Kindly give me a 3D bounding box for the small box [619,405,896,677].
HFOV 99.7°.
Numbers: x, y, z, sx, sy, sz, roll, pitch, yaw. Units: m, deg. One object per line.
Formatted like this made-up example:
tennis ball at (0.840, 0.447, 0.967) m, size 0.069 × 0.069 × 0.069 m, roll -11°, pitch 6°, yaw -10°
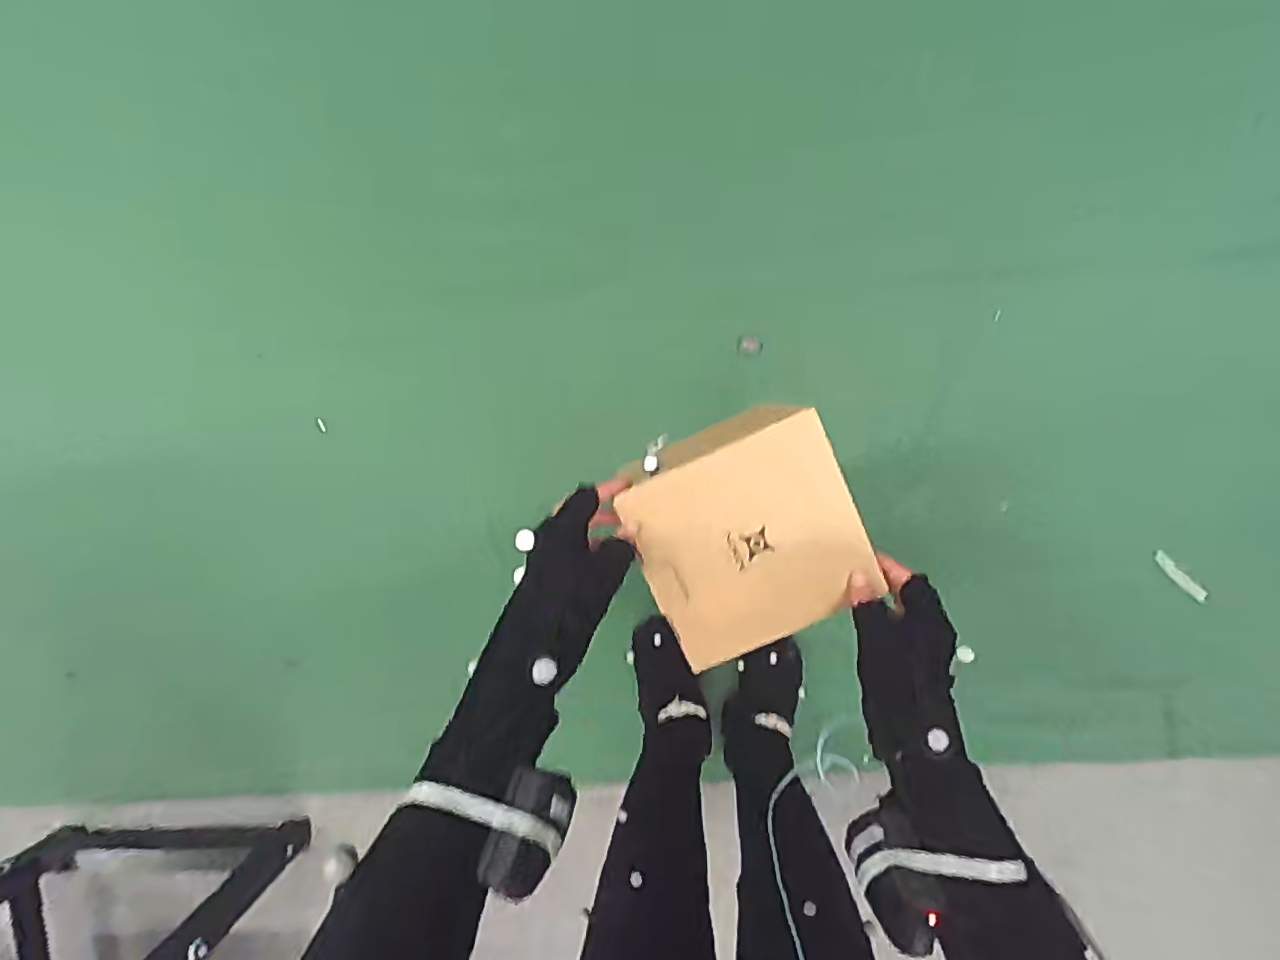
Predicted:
small box at (0.093, 0.040, 0.499) m, size 0.179 × 0.176 × 0.168 m, roll -25°, pitch 99°, yaw 5°
